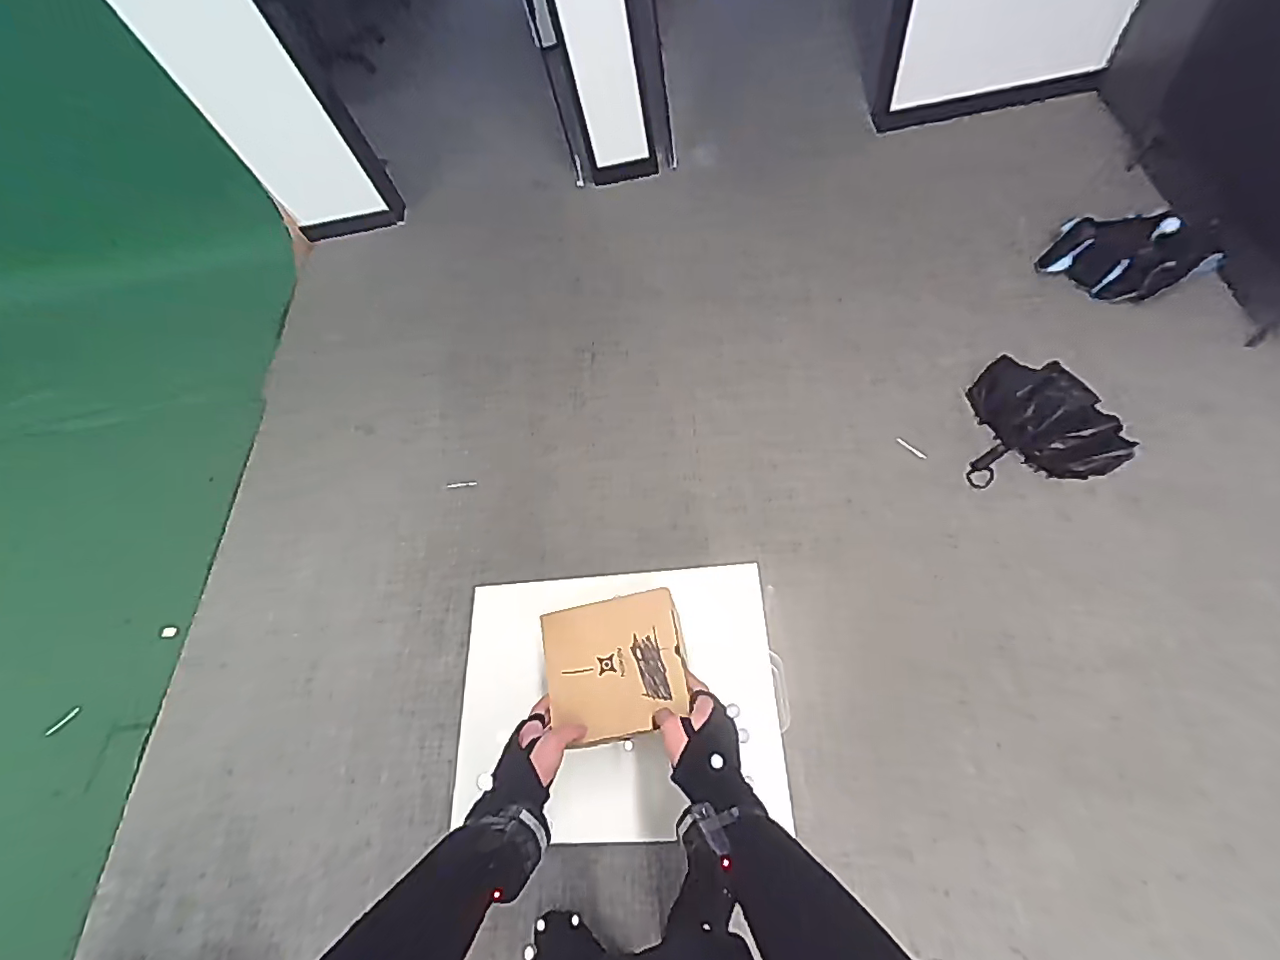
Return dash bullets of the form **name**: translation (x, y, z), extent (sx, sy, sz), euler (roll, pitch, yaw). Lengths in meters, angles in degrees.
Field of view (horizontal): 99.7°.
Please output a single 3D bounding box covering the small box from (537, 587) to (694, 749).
- **small box**: translation (-0.027, 0.258, 0.731), extent (0.179, 0.176, 0.168), euler (-12, 63, 2)
